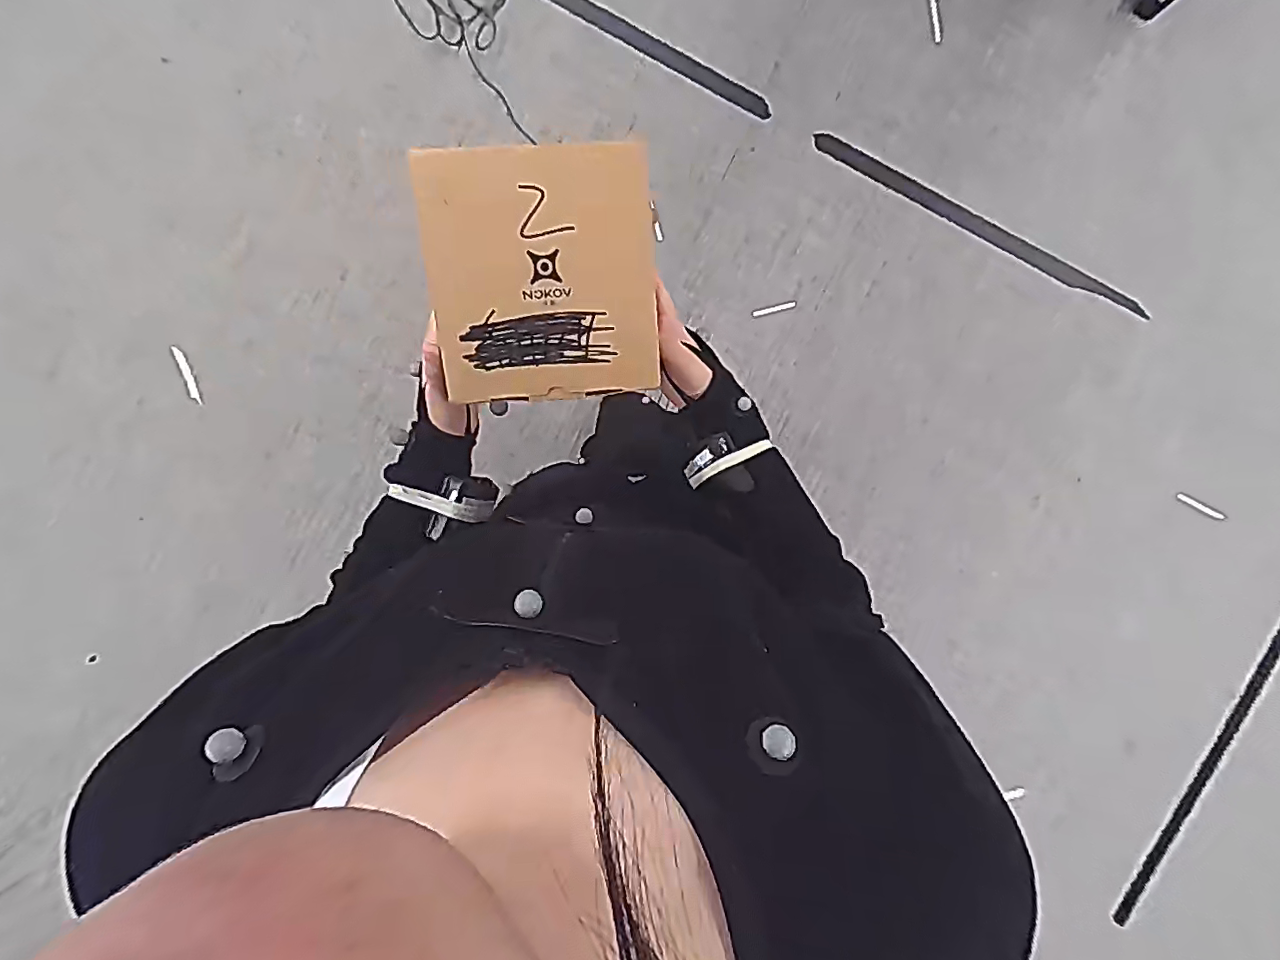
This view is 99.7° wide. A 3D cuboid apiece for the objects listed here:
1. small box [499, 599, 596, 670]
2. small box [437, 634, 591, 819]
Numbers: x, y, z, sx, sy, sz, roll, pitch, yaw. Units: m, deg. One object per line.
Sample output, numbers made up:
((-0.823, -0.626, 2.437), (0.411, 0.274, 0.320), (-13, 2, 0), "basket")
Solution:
((-0.184, 0.337, 0.977), (0.168, 0.176, 0.179), (21, 94, -2), "small box")
((-0.176, 0.355, 0.813), (0.168, 0.176, 0.179), (17, 93, -2), "small box")
